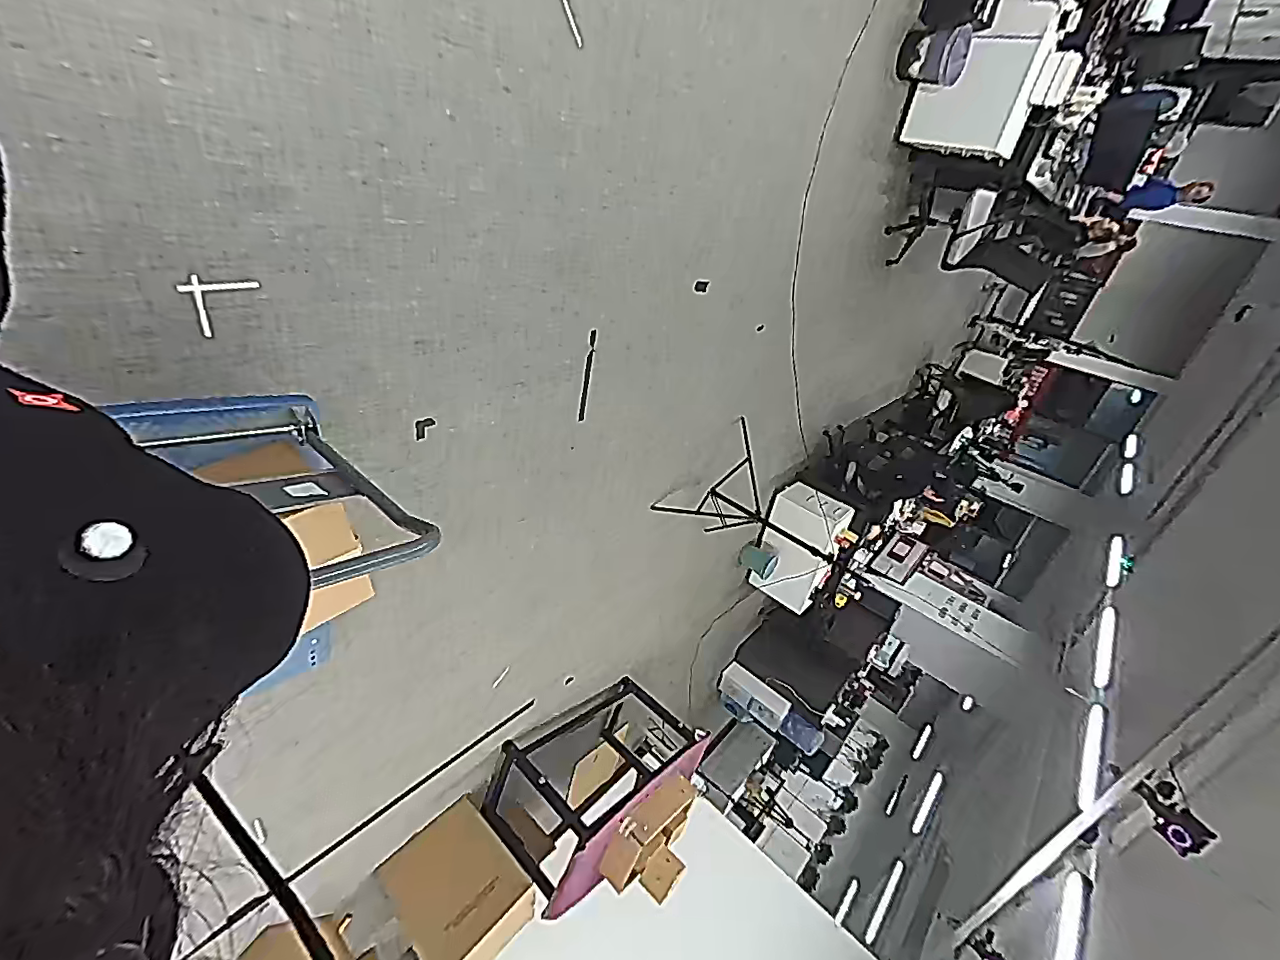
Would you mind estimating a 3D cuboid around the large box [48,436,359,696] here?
[{"bbox_3d":[-0.906,0.158,1.166,0.408,0.320,0.320,-30,138,-37],"label":"large box"}]
